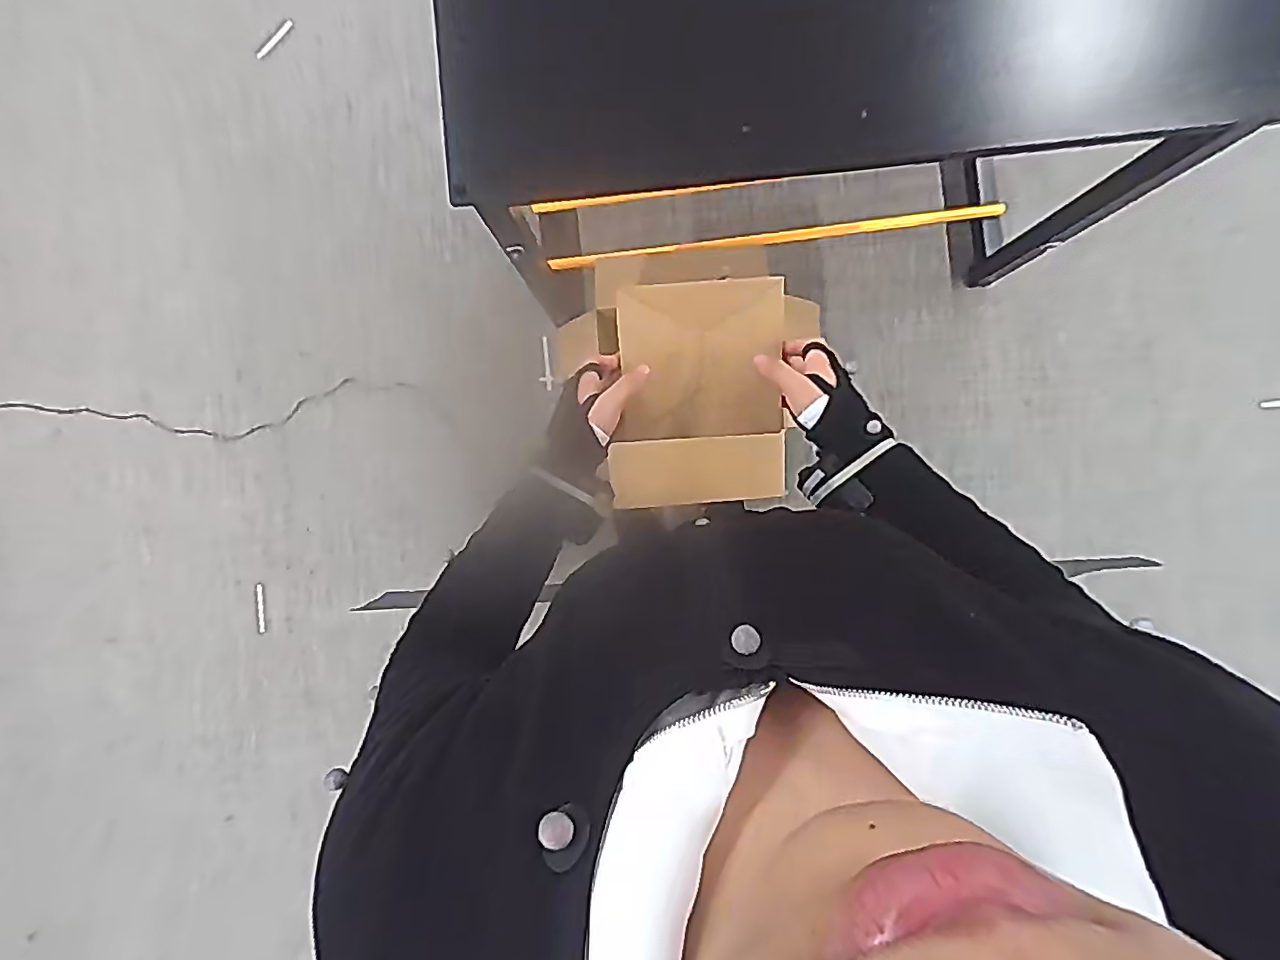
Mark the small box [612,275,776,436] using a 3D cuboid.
[{"bbox_3d":[0.065,-0.156,0.659,0.179,0.176,0.168,-4,109,3],"label":"small box"}]
